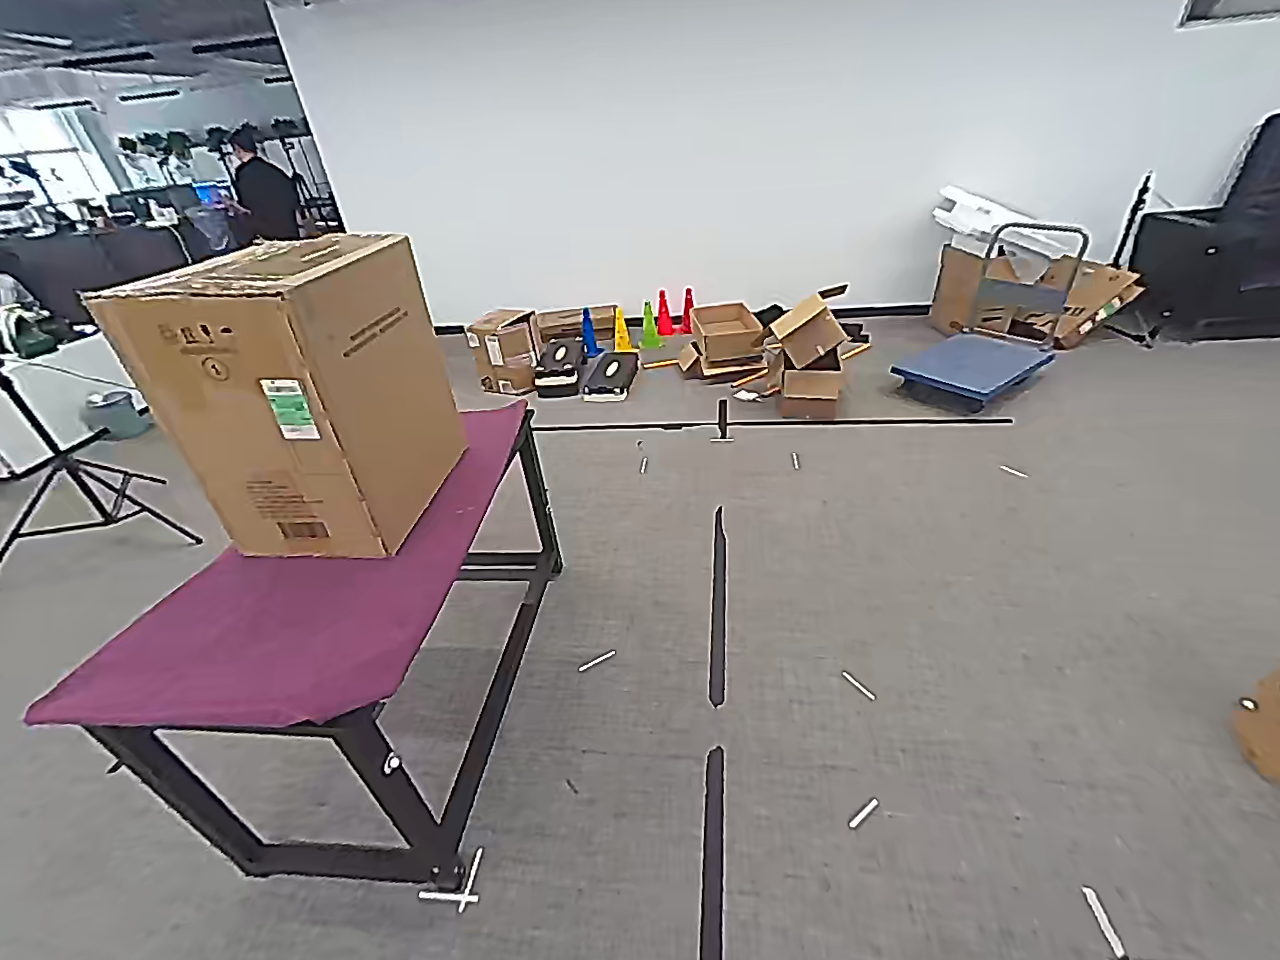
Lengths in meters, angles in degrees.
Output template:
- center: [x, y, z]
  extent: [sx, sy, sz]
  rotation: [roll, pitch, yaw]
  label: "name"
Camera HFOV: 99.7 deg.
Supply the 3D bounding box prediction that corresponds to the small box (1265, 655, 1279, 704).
- center: [1.710, 0.520, 1.321]
  extent: [0.179, 0.176, 0.168]
  rotation: [4, 34, 14]
  label: "small box"
